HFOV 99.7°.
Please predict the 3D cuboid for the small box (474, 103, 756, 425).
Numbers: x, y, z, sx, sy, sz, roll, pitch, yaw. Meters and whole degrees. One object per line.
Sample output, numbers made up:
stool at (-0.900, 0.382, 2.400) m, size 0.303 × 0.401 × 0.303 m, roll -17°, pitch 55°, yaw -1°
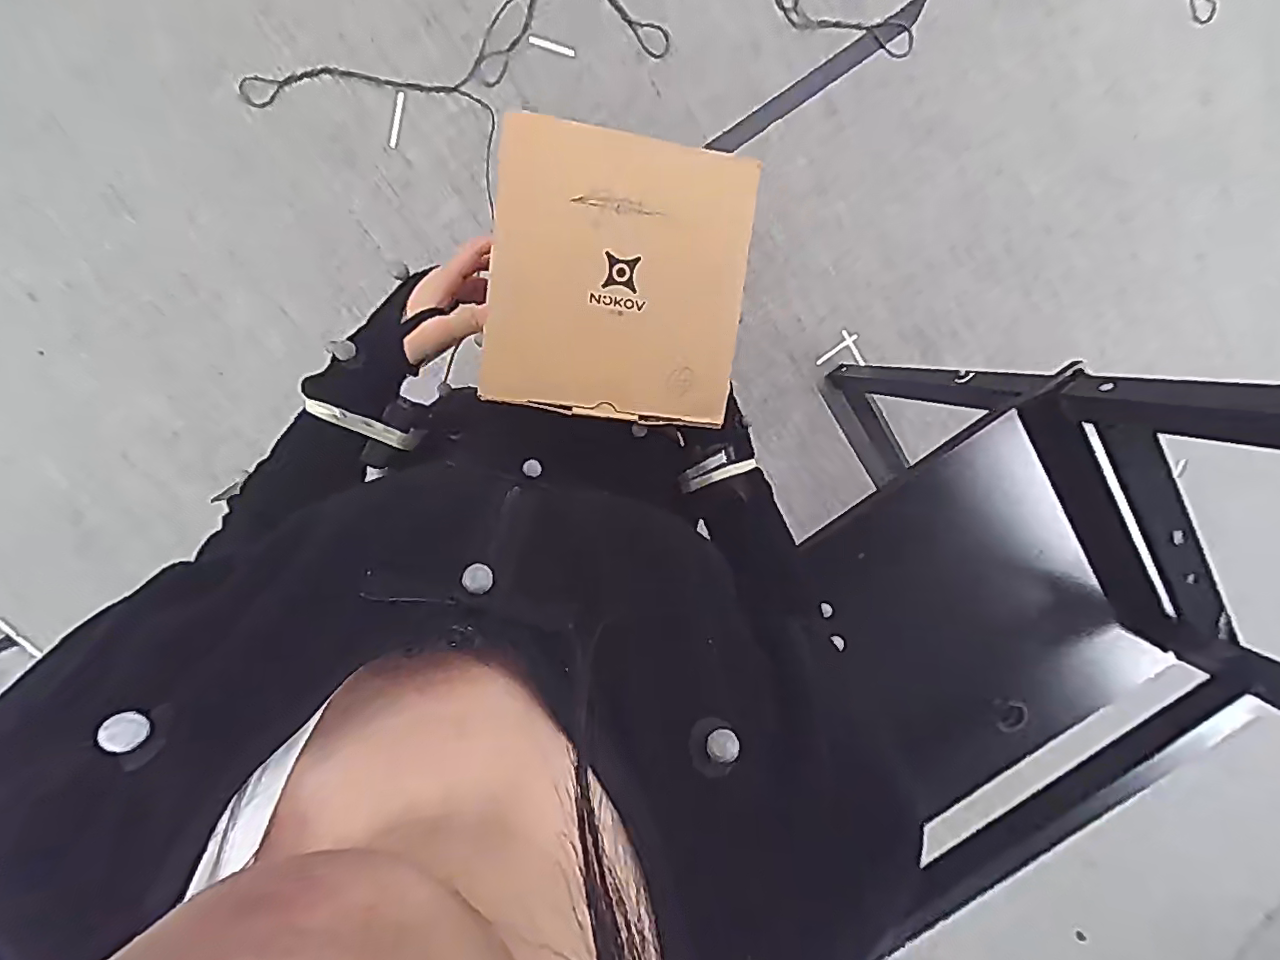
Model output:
small box at (-0.027, -0.142, 0.420) m, size 0.168 × 0.176 × 0.179 m, roll 5°, pitch 97°, yaw -10°
